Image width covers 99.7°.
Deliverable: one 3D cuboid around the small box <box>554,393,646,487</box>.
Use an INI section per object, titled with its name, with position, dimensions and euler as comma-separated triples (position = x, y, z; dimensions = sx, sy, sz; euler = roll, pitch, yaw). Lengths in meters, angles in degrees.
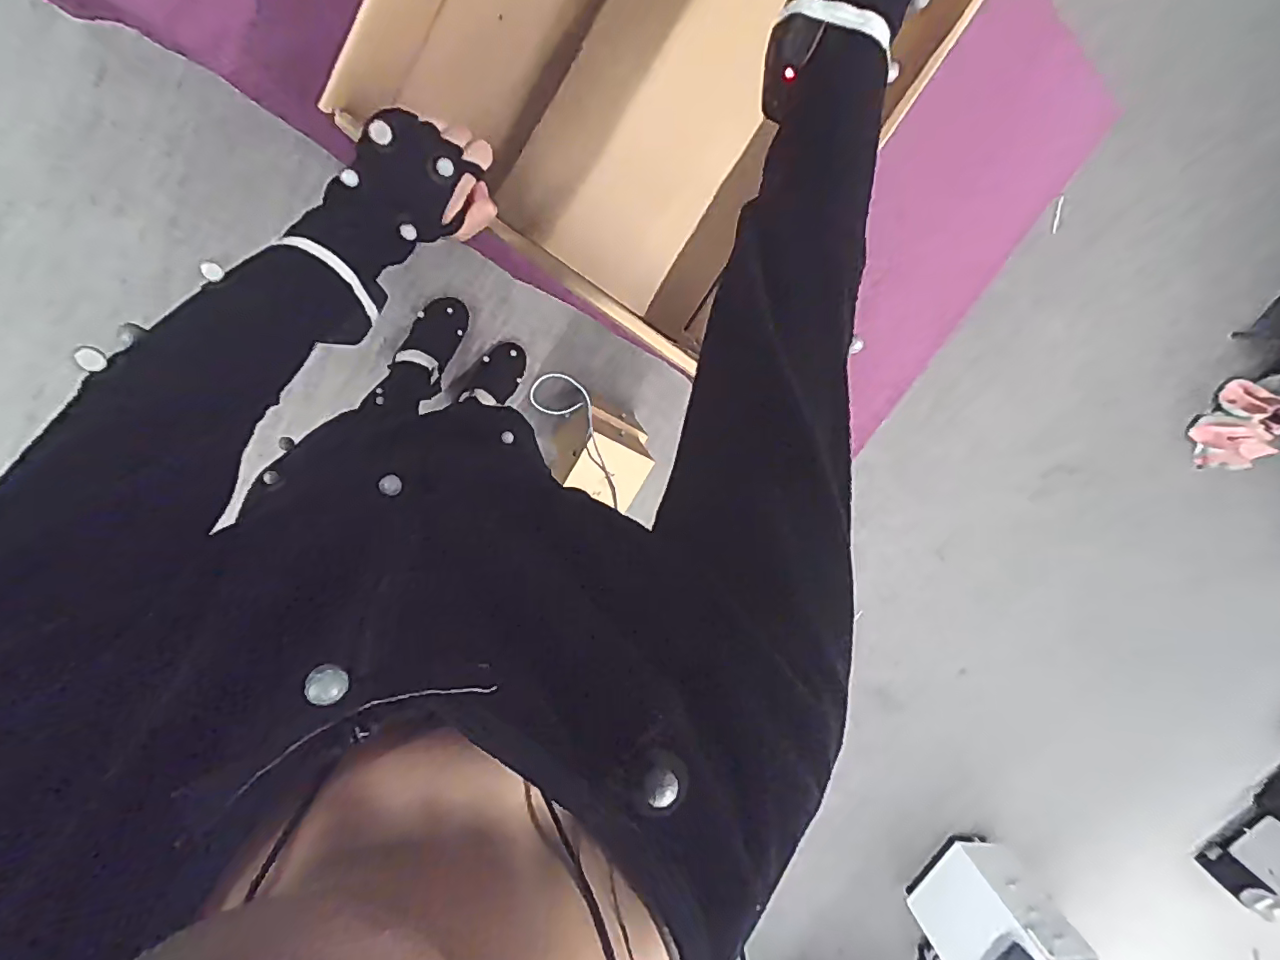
[small box]
position = -0.113, -0.113, 1.444
dimensions = 0.179, 0.176, 0.168
euler = 27, 105, -23
